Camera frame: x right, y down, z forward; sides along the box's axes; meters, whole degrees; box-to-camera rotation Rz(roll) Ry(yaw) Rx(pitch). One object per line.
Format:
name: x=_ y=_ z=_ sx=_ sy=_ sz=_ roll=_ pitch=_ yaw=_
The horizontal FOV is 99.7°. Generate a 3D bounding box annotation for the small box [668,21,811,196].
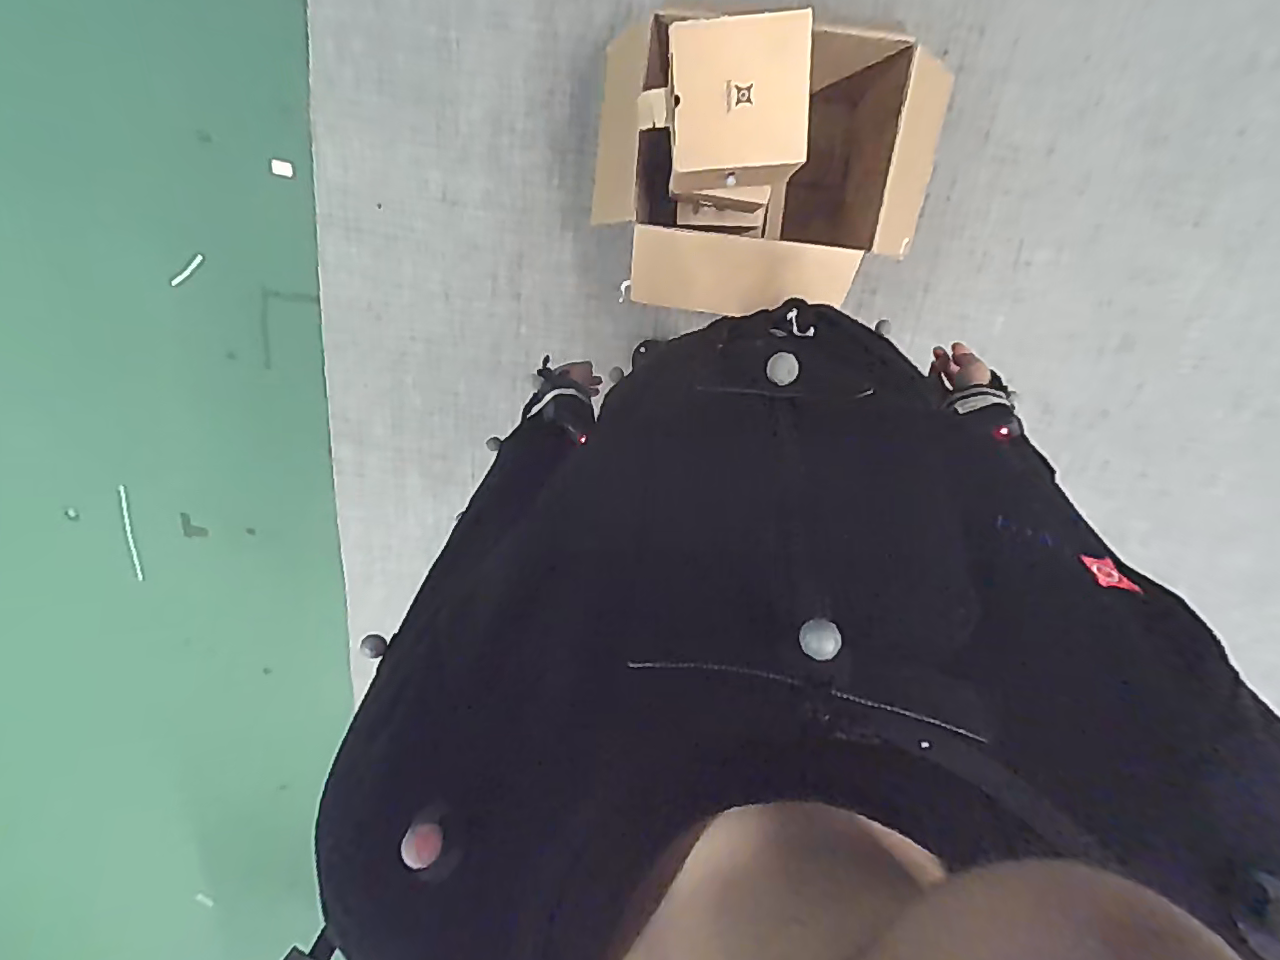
small box: x=0.130 y=-0.510 z=0.766 sx=0.179 sy=0.176 sz=0.168 roll=-2 pitch=110 yaw=5

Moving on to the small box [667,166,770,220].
small box: x=0.140 y=-0.557 z=0.921 sx=0.168 sy=0.176 sz=0.179 roll=9 pitch=111 yaw=-1
